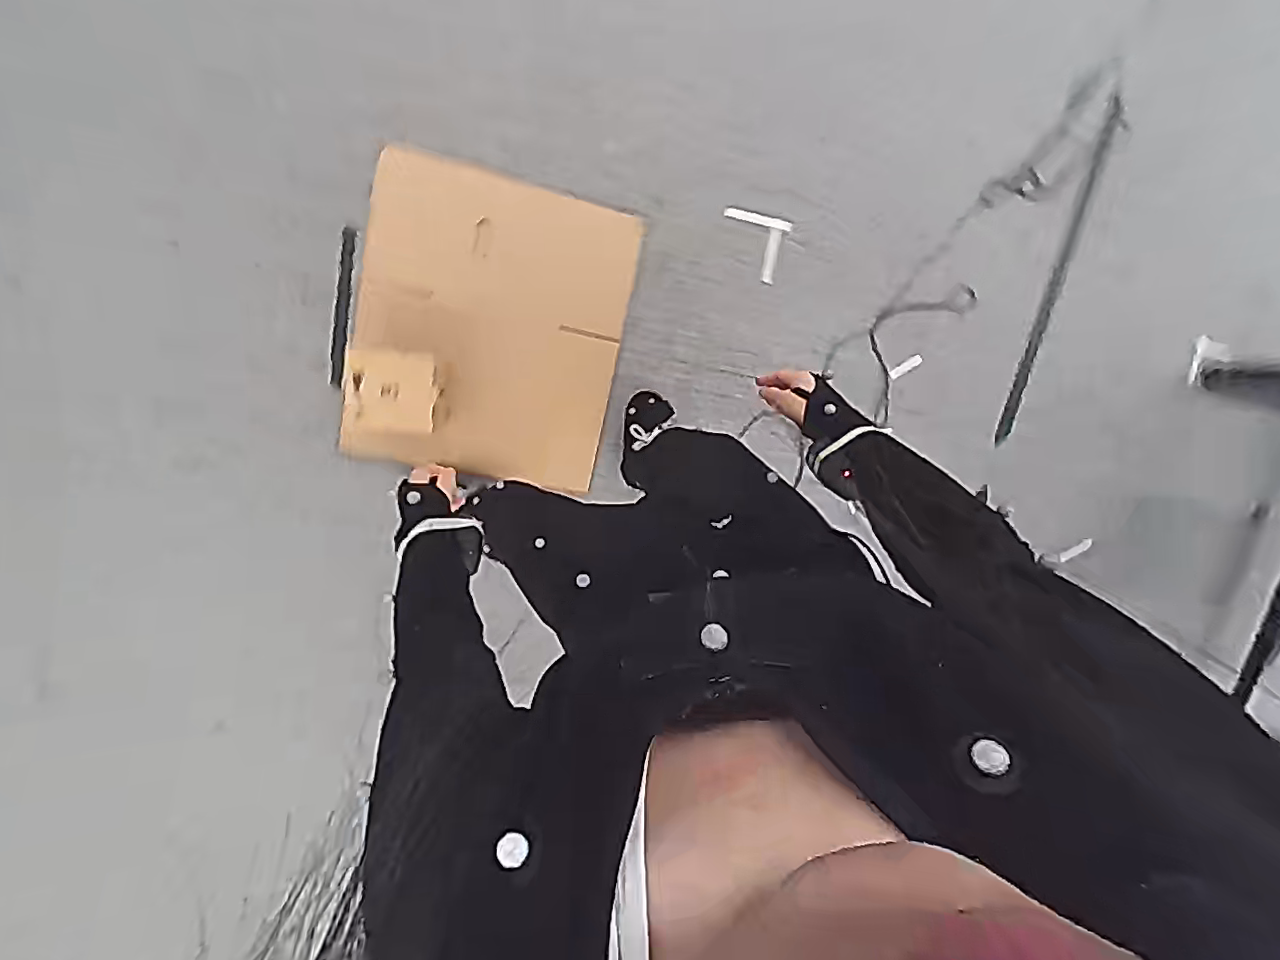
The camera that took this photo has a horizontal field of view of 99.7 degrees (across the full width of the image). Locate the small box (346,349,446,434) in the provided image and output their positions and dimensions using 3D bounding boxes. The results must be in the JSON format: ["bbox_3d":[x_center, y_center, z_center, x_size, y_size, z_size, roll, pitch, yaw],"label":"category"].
[{"bbox_3d":[-0.535,-0.201,1.207,0.179,0.176,0.168,2,102,-12],"label":"small box"}]
